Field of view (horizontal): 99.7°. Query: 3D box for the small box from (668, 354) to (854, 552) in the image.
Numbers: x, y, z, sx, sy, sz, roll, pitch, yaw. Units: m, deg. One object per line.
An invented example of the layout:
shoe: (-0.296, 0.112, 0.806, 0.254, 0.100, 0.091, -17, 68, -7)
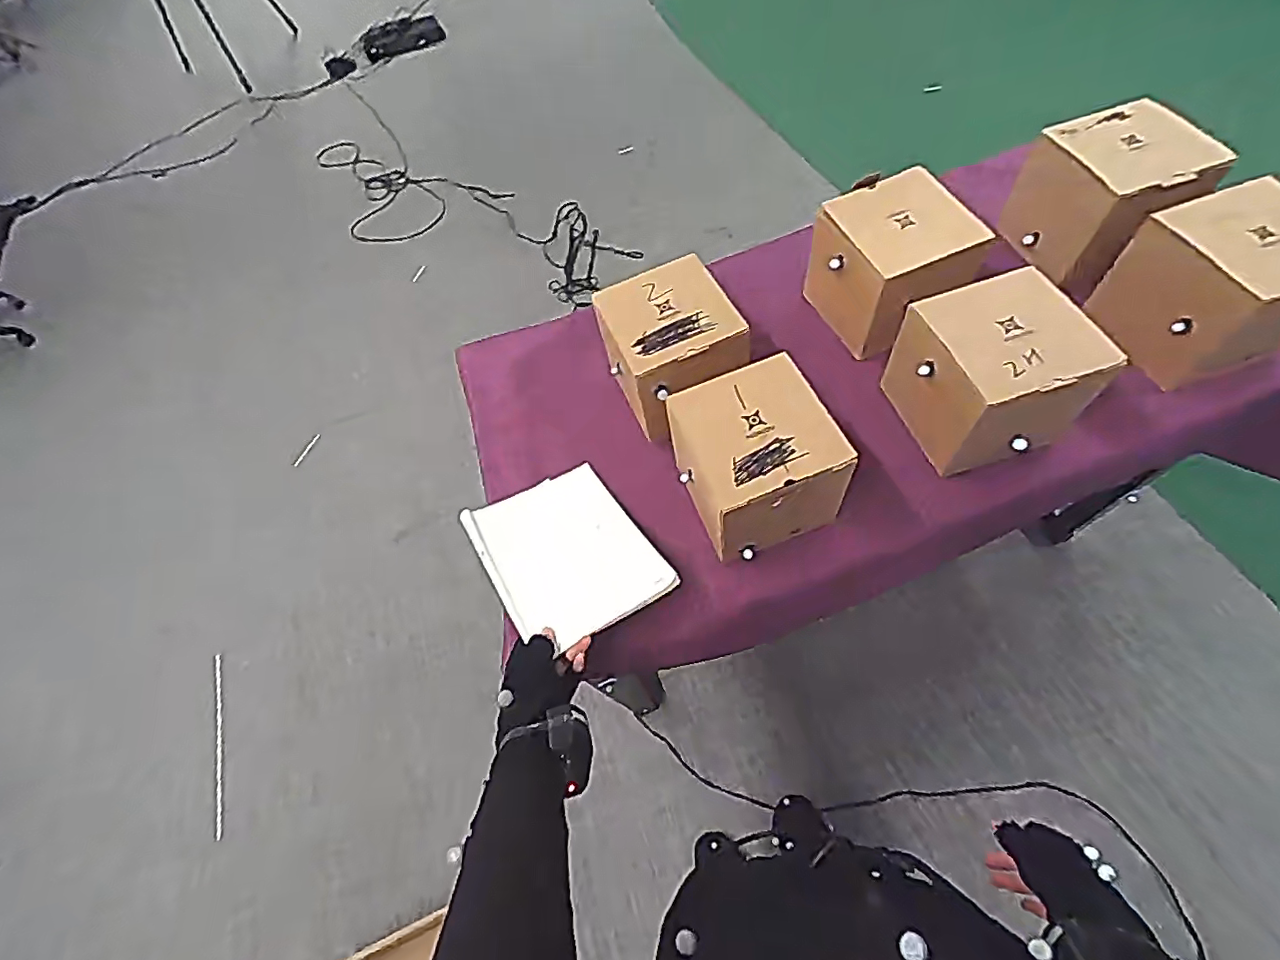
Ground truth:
small box: (0.148, -0.023, 0.699, 0.168, 0.176, 0.179, -20, 60, -2)

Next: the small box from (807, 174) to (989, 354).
small box: (0.377, -0.318, 0.828, 0.168, 0.176, 0.179, -22, 60, -3)

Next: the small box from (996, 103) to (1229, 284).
small box: (0.700, -0.426, 0.829, 0.168, 0.176, 0.179, -16, 61, 0)

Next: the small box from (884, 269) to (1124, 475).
small box: (0.451, -0.136, 0.711, 0.168, 0.176, 0.179, -18, 60, 0)
